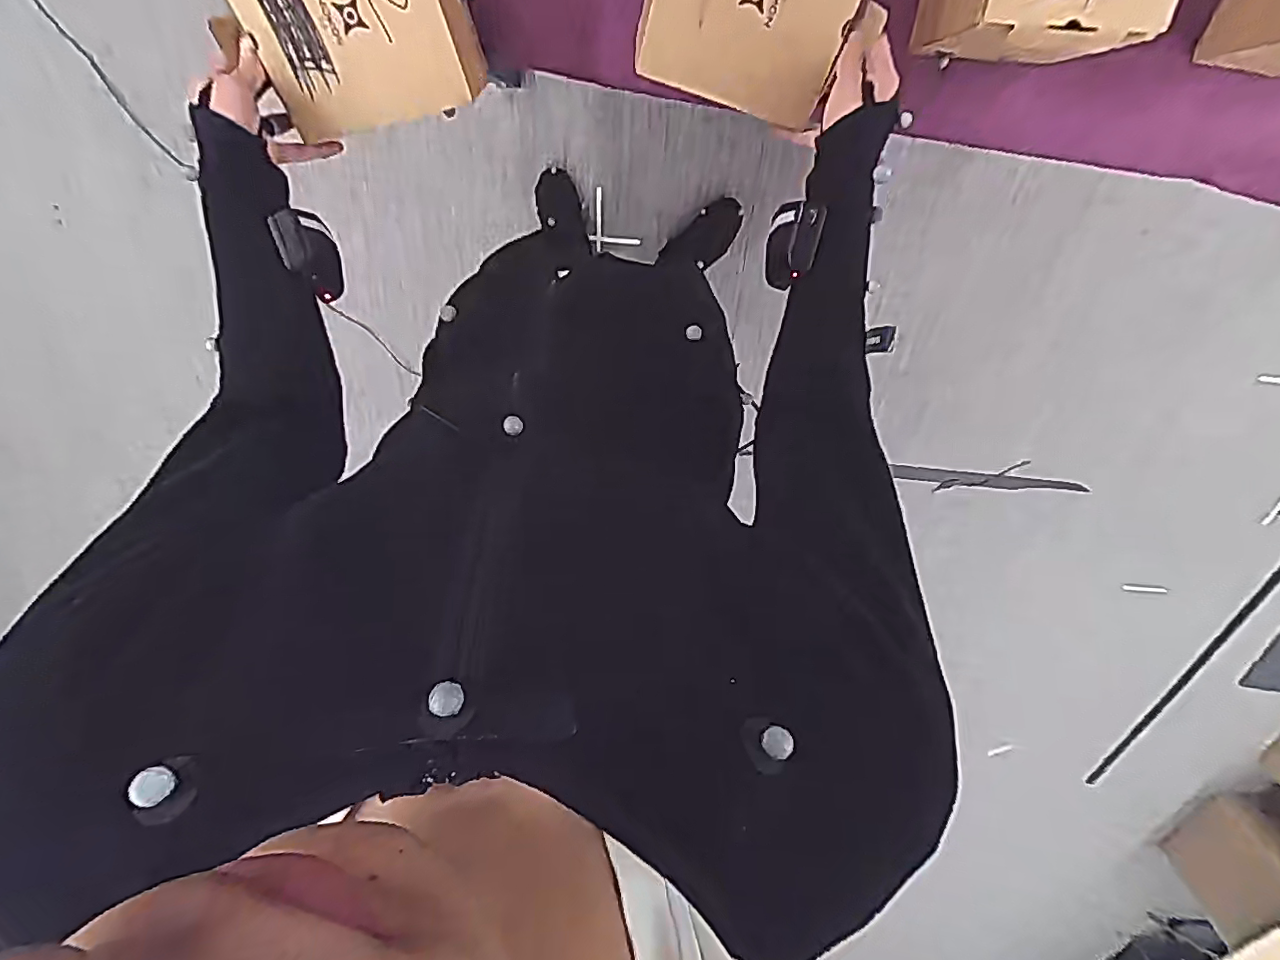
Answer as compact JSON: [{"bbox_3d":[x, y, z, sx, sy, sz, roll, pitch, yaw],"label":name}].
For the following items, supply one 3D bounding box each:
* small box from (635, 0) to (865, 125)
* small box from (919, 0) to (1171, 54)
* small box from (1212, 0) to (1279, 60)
[{"bbox_3d":[0.101,-0.470,0.503,0.179,0.176,0.168,11,135,-13],"label":"small box"},{"bbox_3d":[0.391,-0.524,0.507,0.168,0.176,0.179,4,120,0],"label":"small box"},{"bbox_3d":[0.714,-0.506,0.502,0.168,0.176,0.179,8,120,-2],"label":"small box"}]
